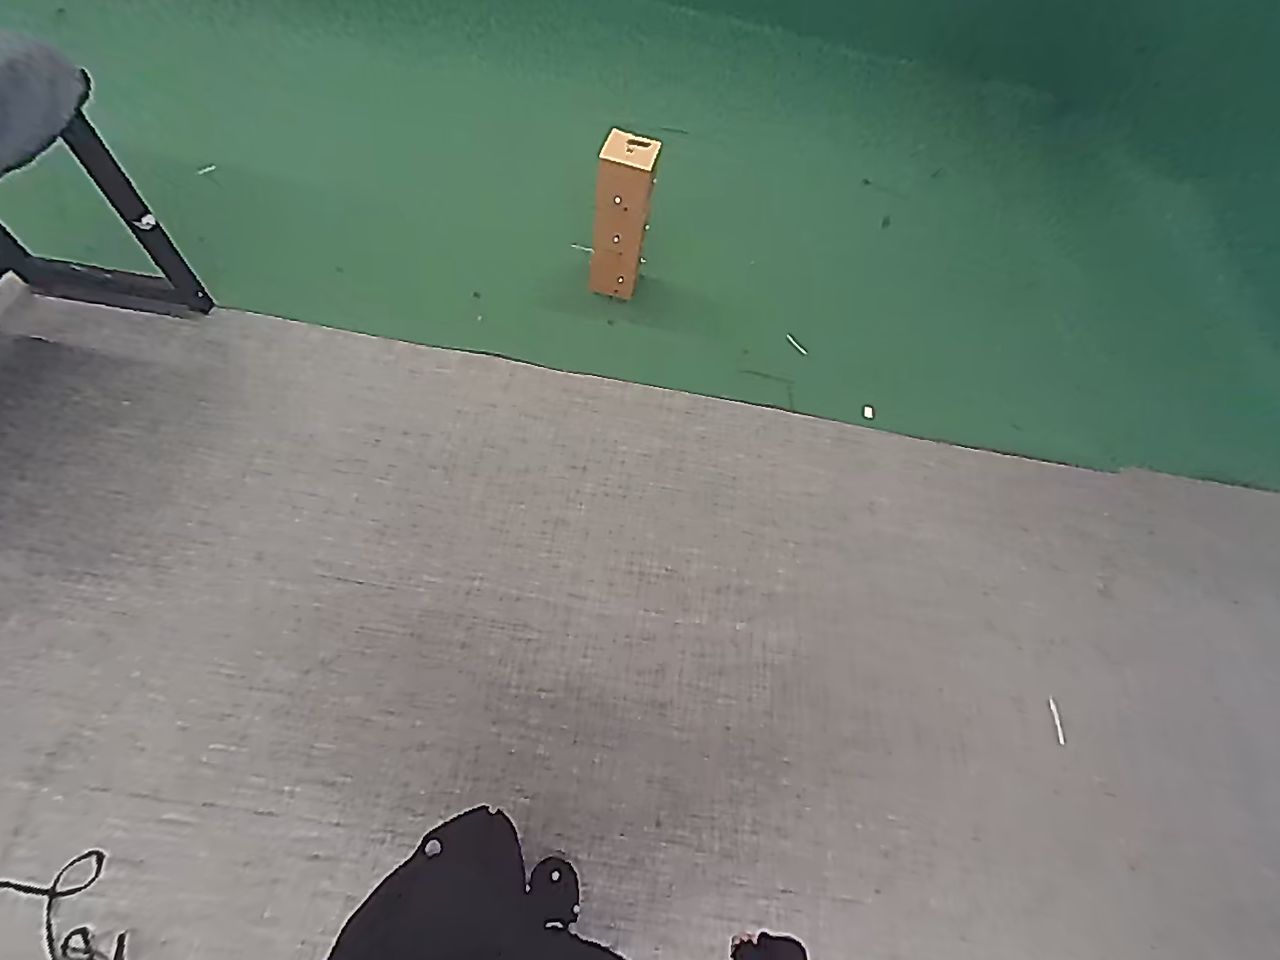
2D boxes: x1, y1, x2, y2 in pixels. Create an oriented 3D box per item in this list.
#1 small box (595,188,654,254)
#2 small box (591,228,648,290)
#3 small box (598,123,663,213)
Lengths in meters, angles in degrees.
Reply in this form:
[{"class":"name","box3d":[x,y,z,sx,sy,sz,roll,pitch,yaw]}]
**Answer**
[{"class":"small box","box3d":[-0.057,-0.920,1.885,0.168,0.176,0.179,16,60,0]},{"class":"small box","box3d":[-0.081,-0.840,2.004,0.168,0.176,0.179,17,58,-1]},{"class":"small box","box3d":[-0.036,-1.003,1.744,0.168,0.176,0.179,16,60,0]}]
